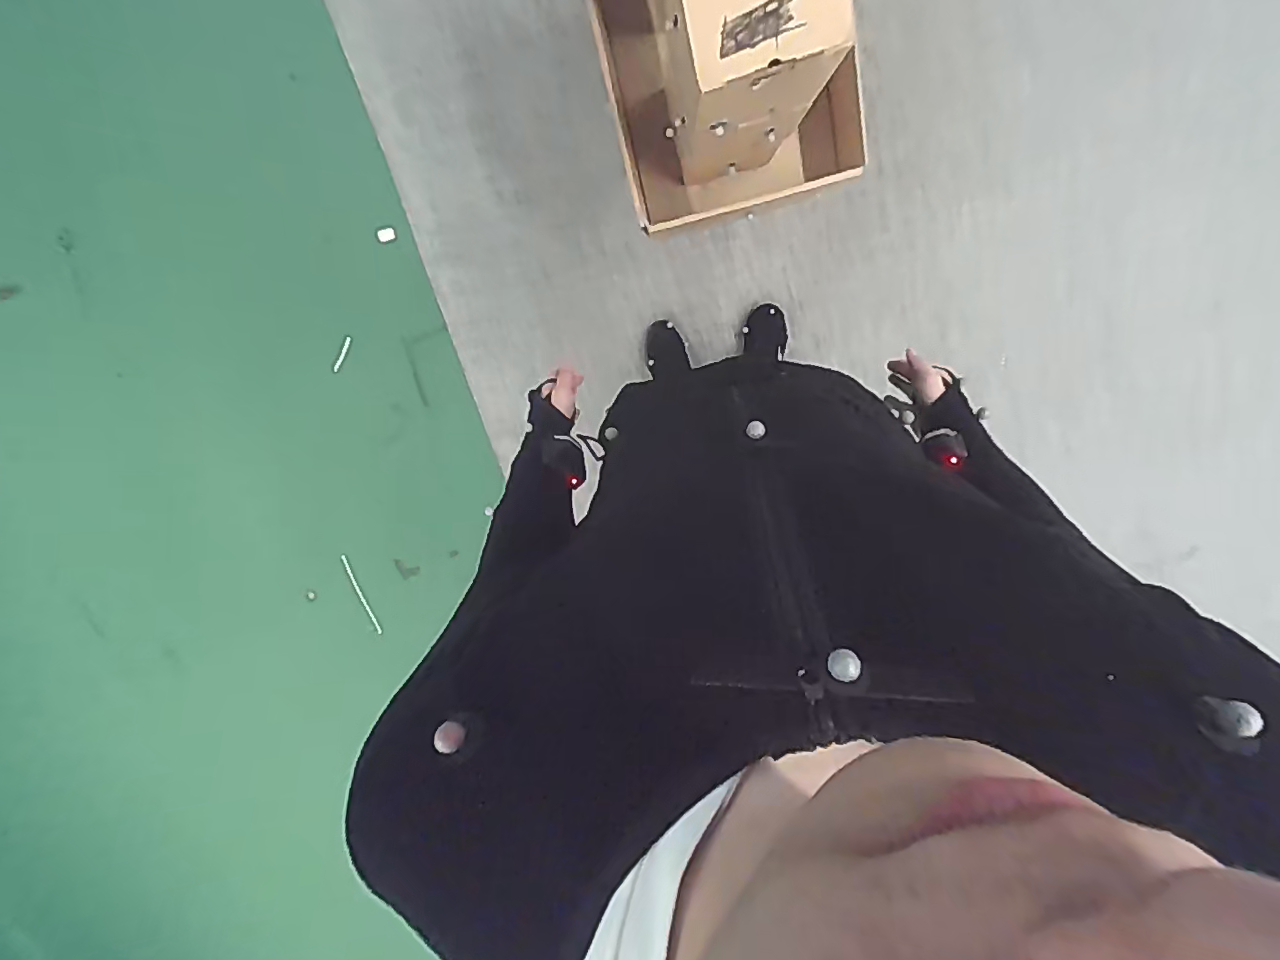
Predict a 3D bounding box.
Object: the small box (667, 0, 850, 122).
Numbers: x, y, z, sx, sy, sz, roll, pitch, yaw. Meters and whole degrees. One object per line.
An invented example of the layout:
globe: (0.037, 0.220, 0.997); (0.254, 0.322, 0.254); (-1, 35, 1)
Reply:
small box: (0.124, -0.541, 0.617); (0.168, 0.176, 0.179); (-13, 106, 7)

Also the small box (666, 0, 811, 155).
small box: (0.135, -0.590, 0.773); (0.168, 0.176, 0.179); (-12, 107, 7)

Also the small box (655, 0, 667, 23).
small box: (0.090, -0.879, 0.855); (0.168, 0.176, 0.179); (-12, 108, 8)
